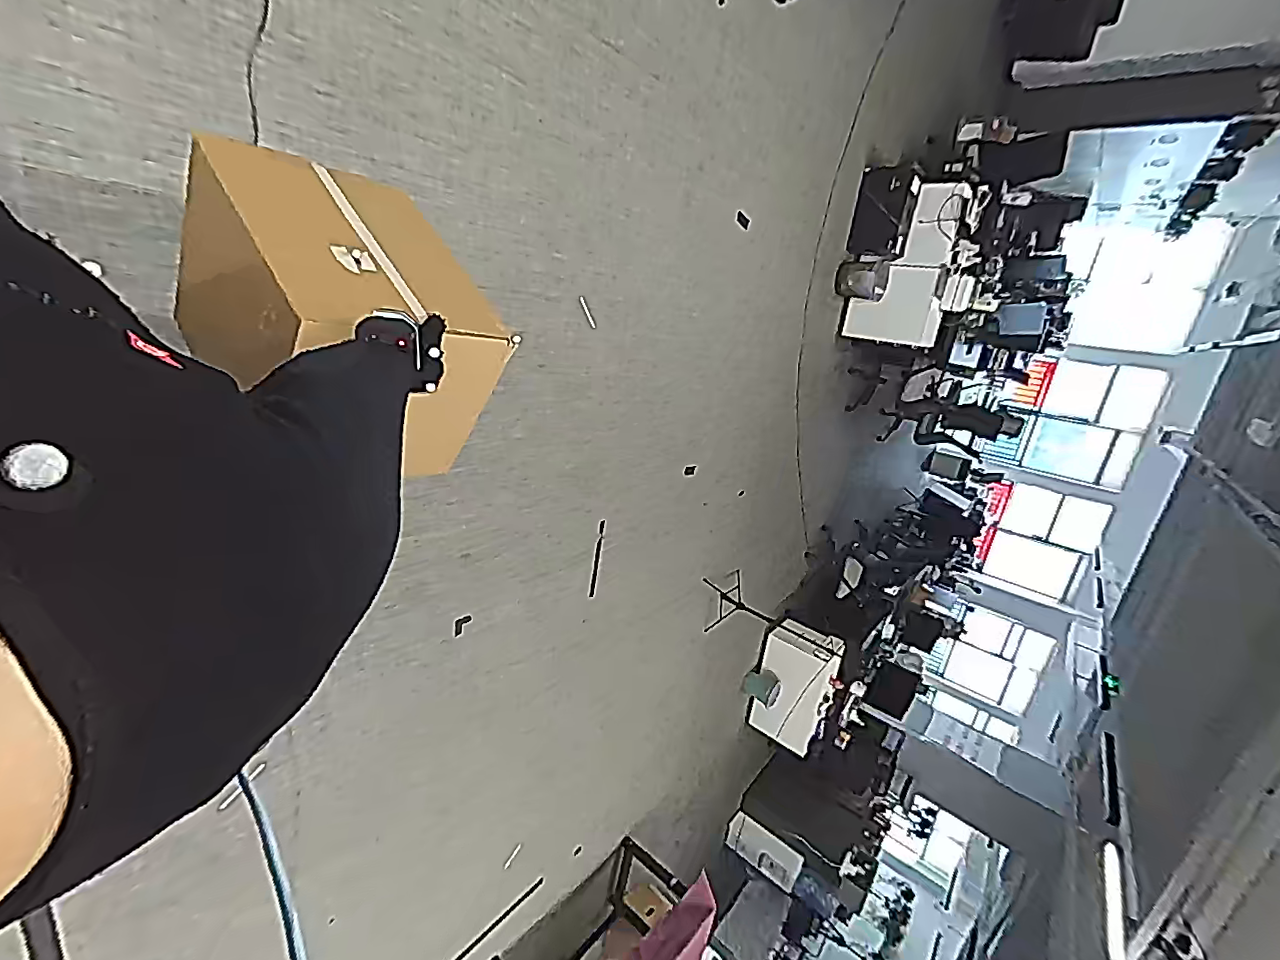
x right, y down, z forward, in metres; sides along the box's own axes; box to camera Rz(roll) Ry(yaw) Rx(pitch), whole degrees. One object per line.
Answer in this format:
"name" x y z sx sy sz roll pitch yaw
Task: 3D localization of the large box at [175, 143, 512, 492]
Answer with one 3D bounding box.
"large box" -0.494 -0.243 0.887 0.320 0.408 0.320 -13 150 -52
